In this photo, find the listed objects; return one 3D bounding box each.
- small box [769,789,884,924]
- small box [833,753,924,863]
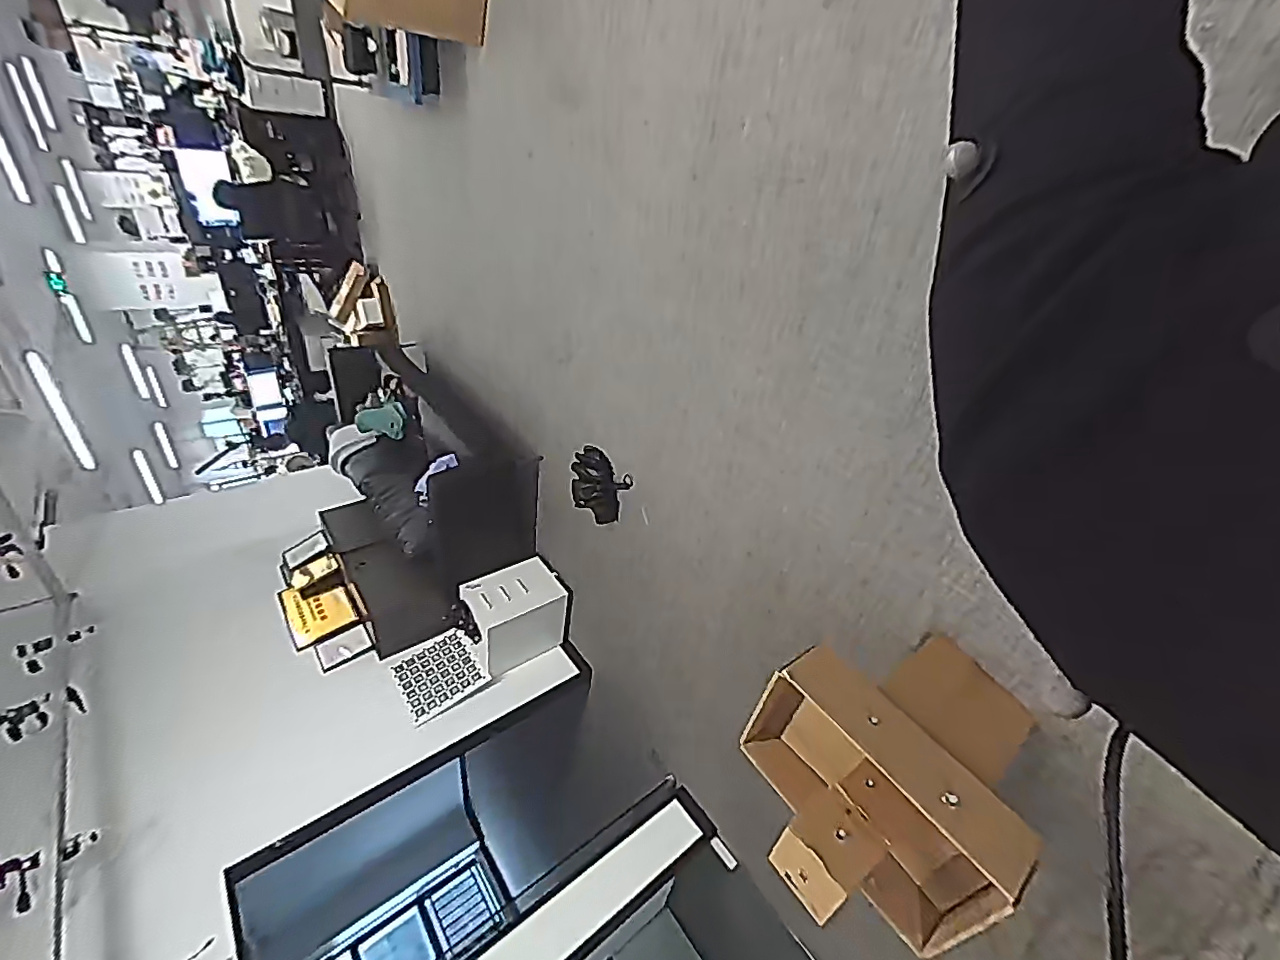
[{"bbox_3d":[0.436,0.867,1.260,0.168,0.176,0.179,42,135,39],"label":"small box"},{"bbox_3d":[0.569,0.822,1.344,0.168,0.176,0.179,44,139,37],"label":"small box"}]
